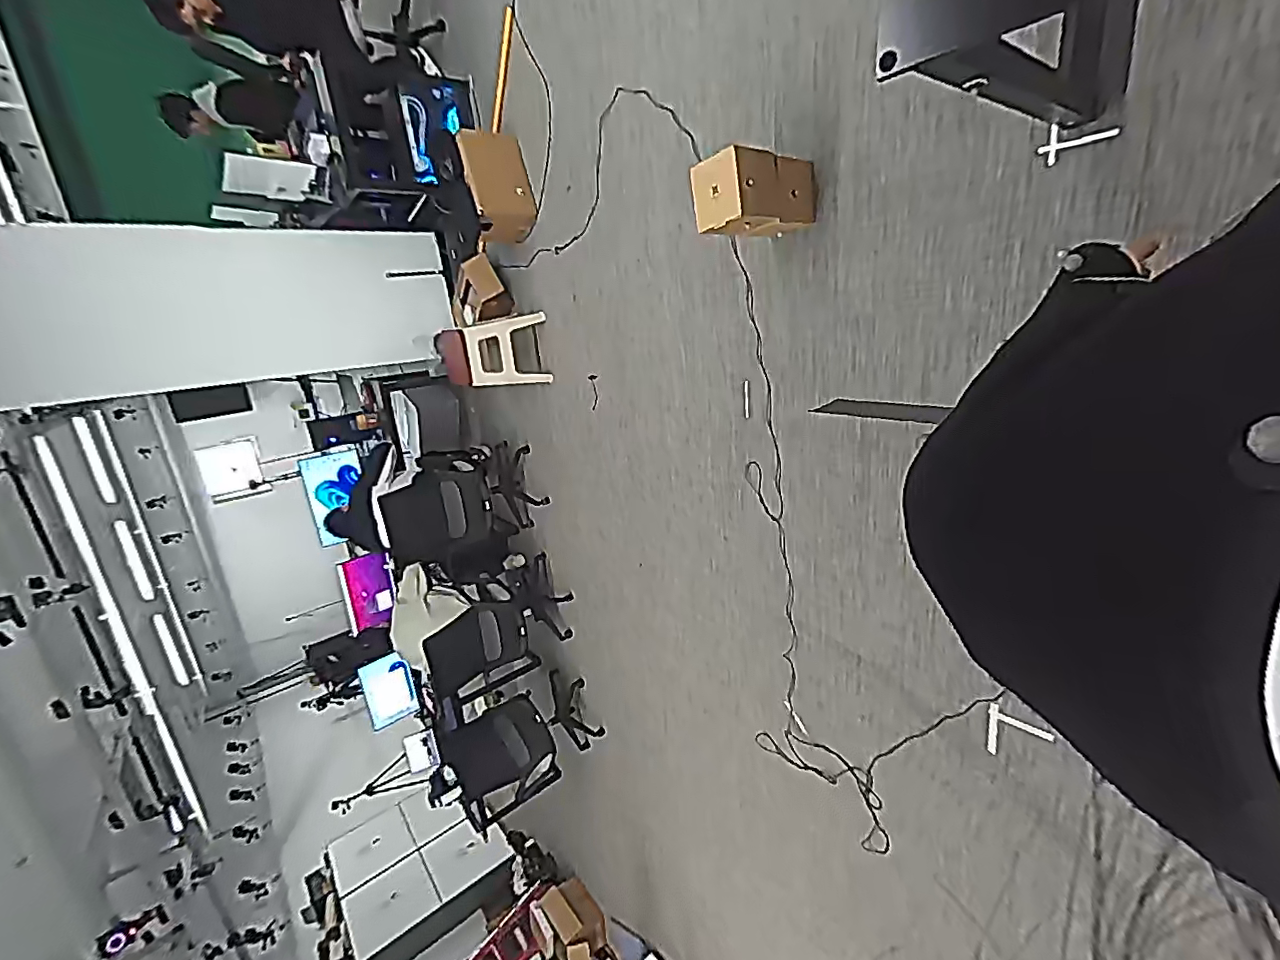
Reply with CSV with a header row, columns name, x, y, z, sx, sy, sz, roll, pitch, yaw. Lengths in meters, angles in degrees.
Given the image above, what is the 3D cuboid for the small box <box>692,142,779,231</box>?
name,x,y,z,sx,sy,sz,roll,pitch,yaw
small box,0.270,-0.807,1.506,0.168,0.176,0.179,5,108,51

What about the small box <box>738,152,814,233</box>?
name,x,y,z,sx,sy,sz,roll,pitch,yaw
small box,0.398,-0.842,1.600,0.168,0.176,0.179,11,114,51
